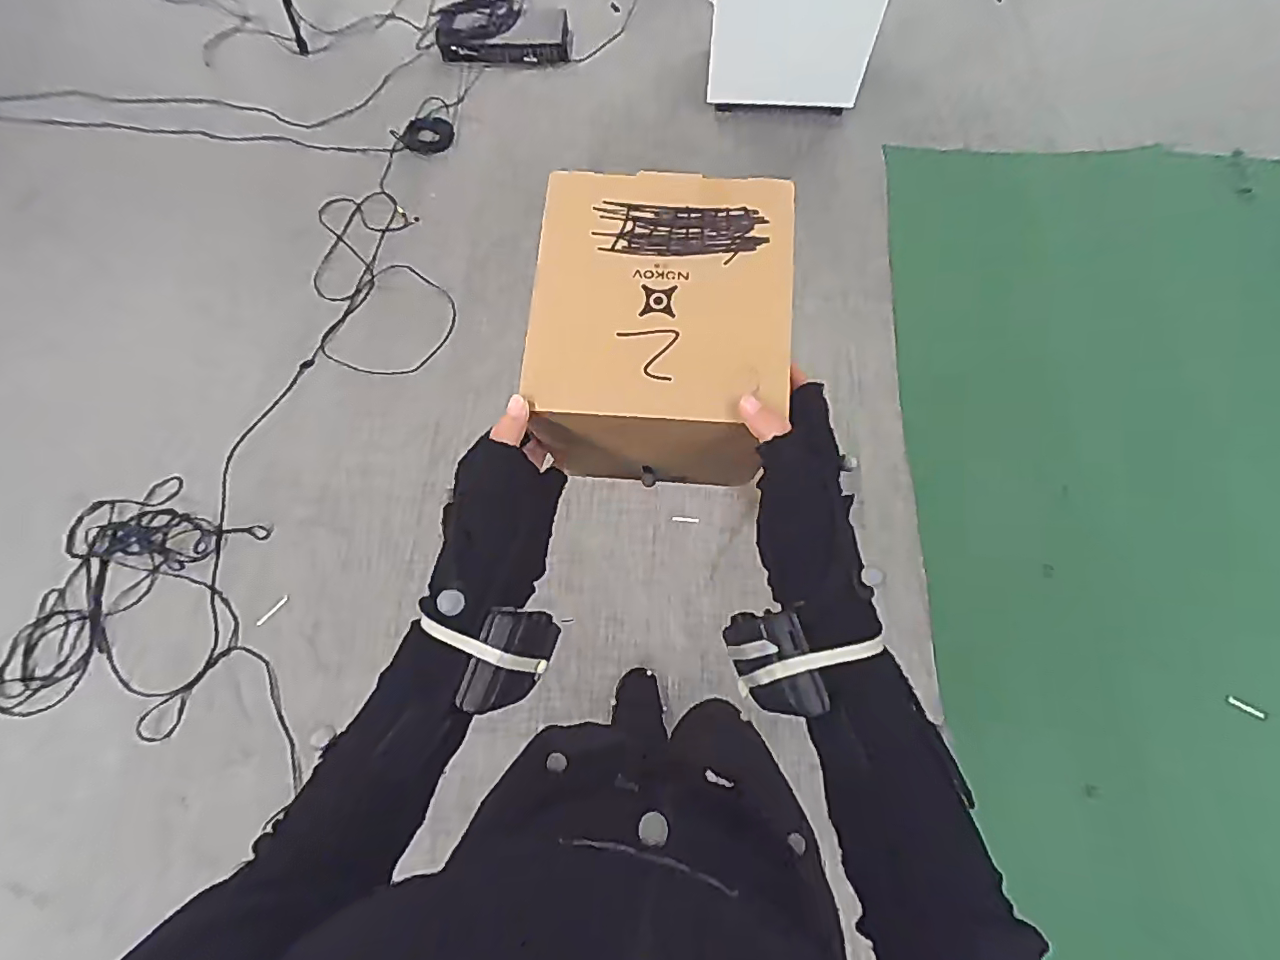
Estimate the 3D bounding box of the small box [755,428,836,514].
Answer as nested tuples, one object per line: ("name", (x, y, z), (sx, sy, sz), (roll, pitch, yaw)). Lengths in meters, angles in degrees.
("small box", (0.393, -0.017, 1.385), (0.168, 0.176, 0.179), (3, 71, 2))
